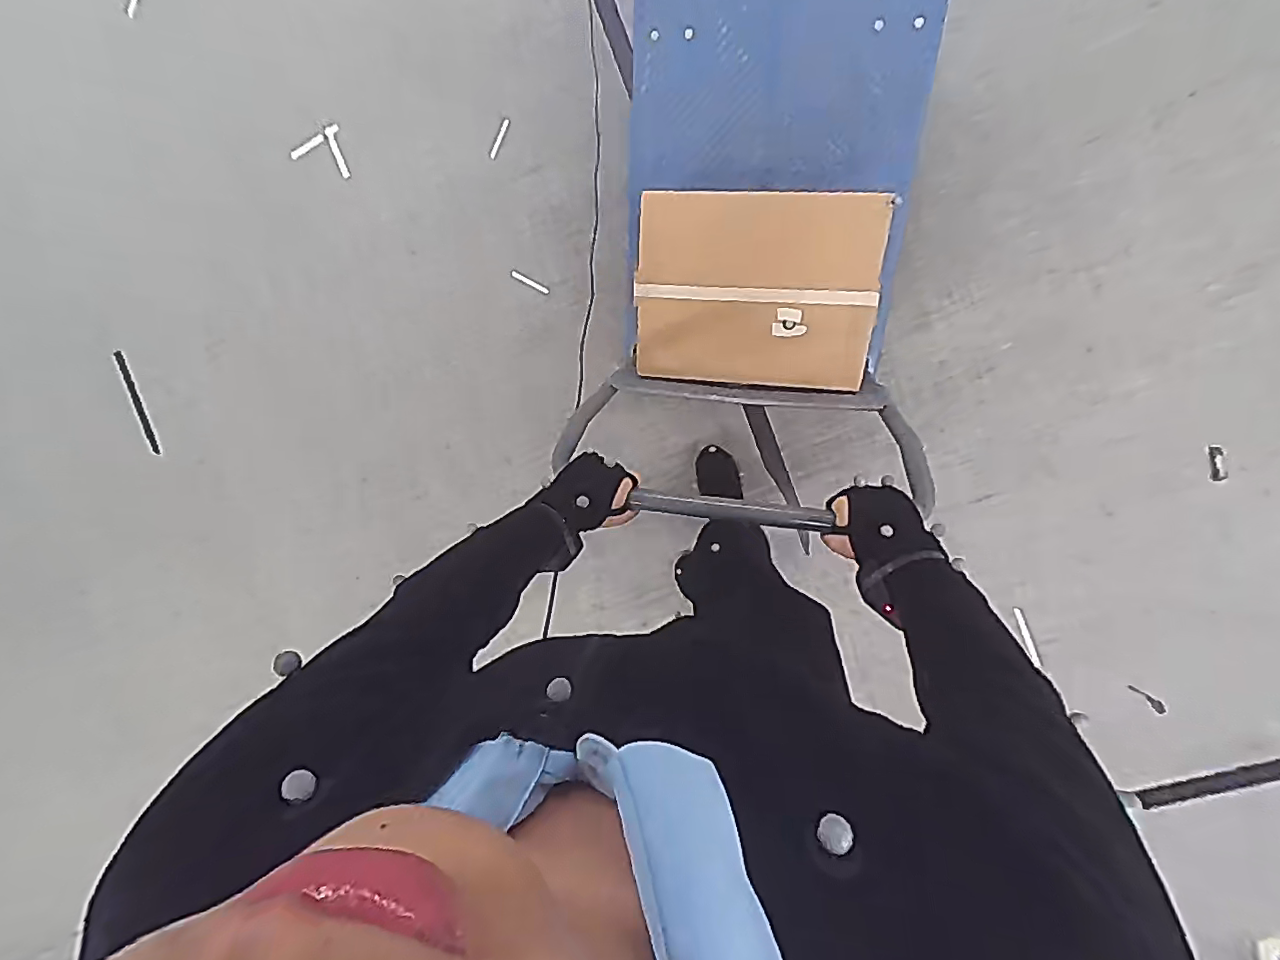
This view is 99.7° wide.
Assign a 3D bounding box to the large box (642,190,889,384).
[{"bbox_3d":[0.226,-0.383,1.082,0.408,0.320,0.320,6,113,9],"label":"large box"}]
